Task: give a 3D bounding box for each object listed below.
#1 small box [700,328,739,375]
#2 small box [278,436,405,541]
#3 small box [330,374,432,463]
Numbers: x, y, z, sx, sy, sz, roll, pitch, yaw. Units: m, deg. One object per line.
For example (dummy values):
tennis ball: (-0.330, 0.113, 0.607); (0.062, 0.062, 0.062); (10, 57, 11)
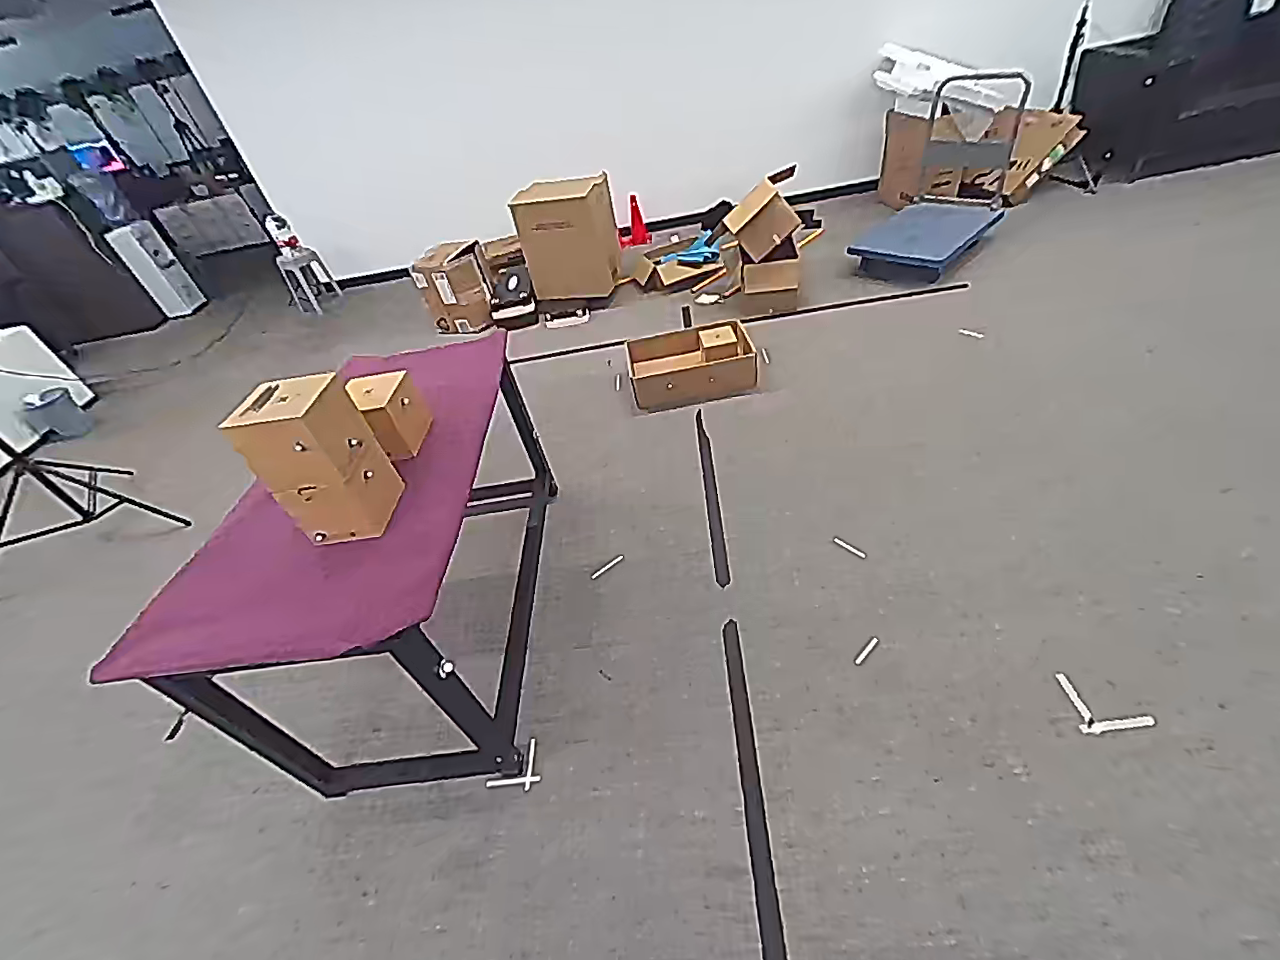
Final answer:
small box: (0.404, -0.644, 2.745); (0.168, 0.176, 0.179); (-10, 40, 3)
small box: (-0.673, 0.025, 1.245); (0.168, 0.176, 0.179); (-8, 40, 6)
small box: (-0.685, -0.161, 1.460); (0.168, 0.176, 0.179); (-8, 42, 6)
